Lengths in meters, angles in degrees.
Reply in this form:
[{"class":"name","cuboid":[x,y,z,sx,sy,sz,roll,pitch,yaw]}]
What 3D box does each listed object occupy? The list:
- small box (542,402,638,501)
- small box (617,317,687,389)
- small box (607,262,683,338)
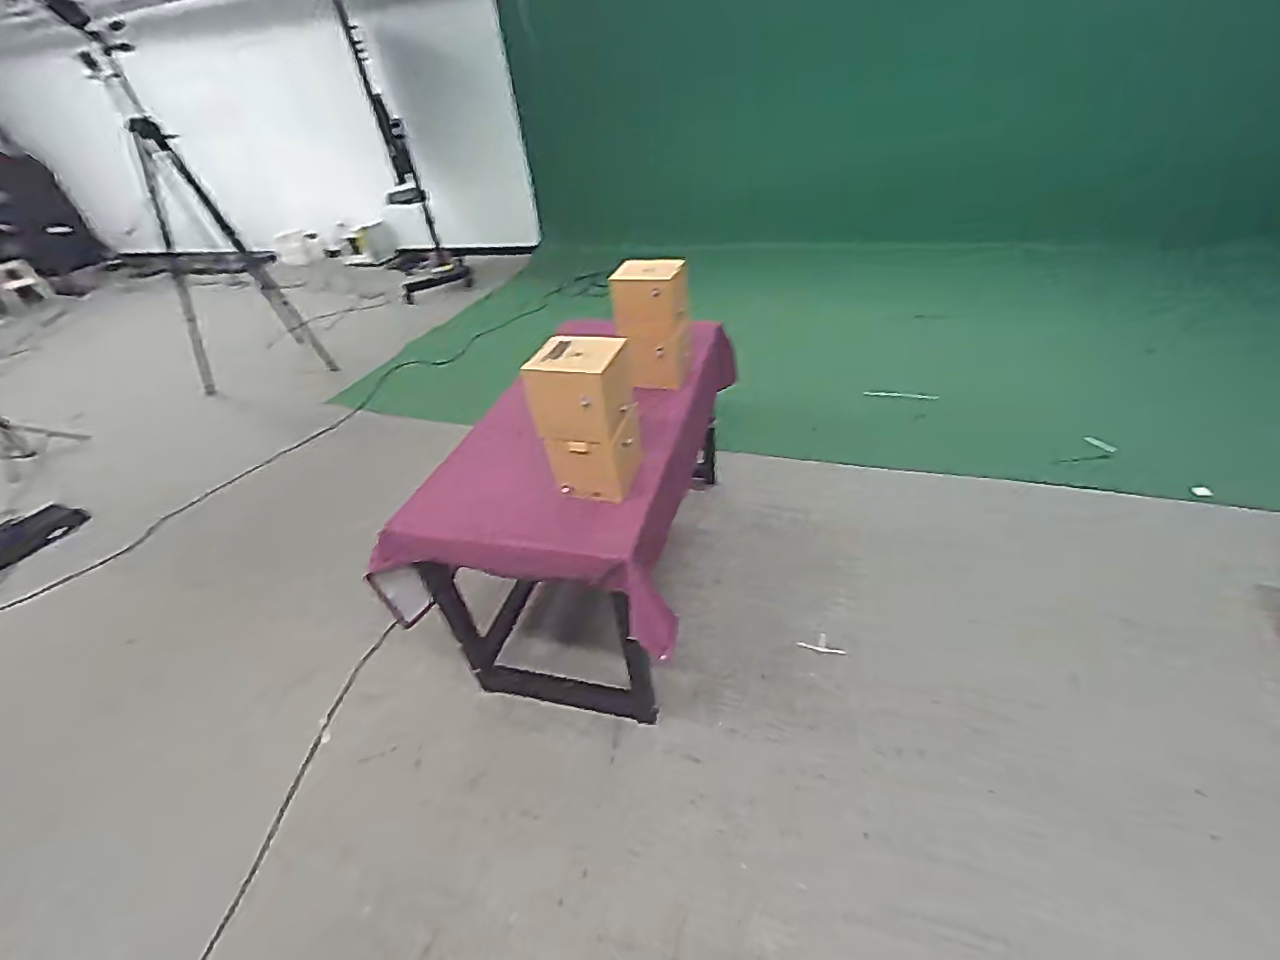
[{"class":"small box","cuboid":[-0.108,-0.068,1.284,0.168,0.176,0.179,6,39,16]},{"class":"small box","cuboid":[0.044,-0.392,1.667,0.179,0.176,0.168,6,40,17]},{"class":"small box","cuboid":[0.022,-0.523,1.572,0.179,0.176,0.168,7,41,16]}]
